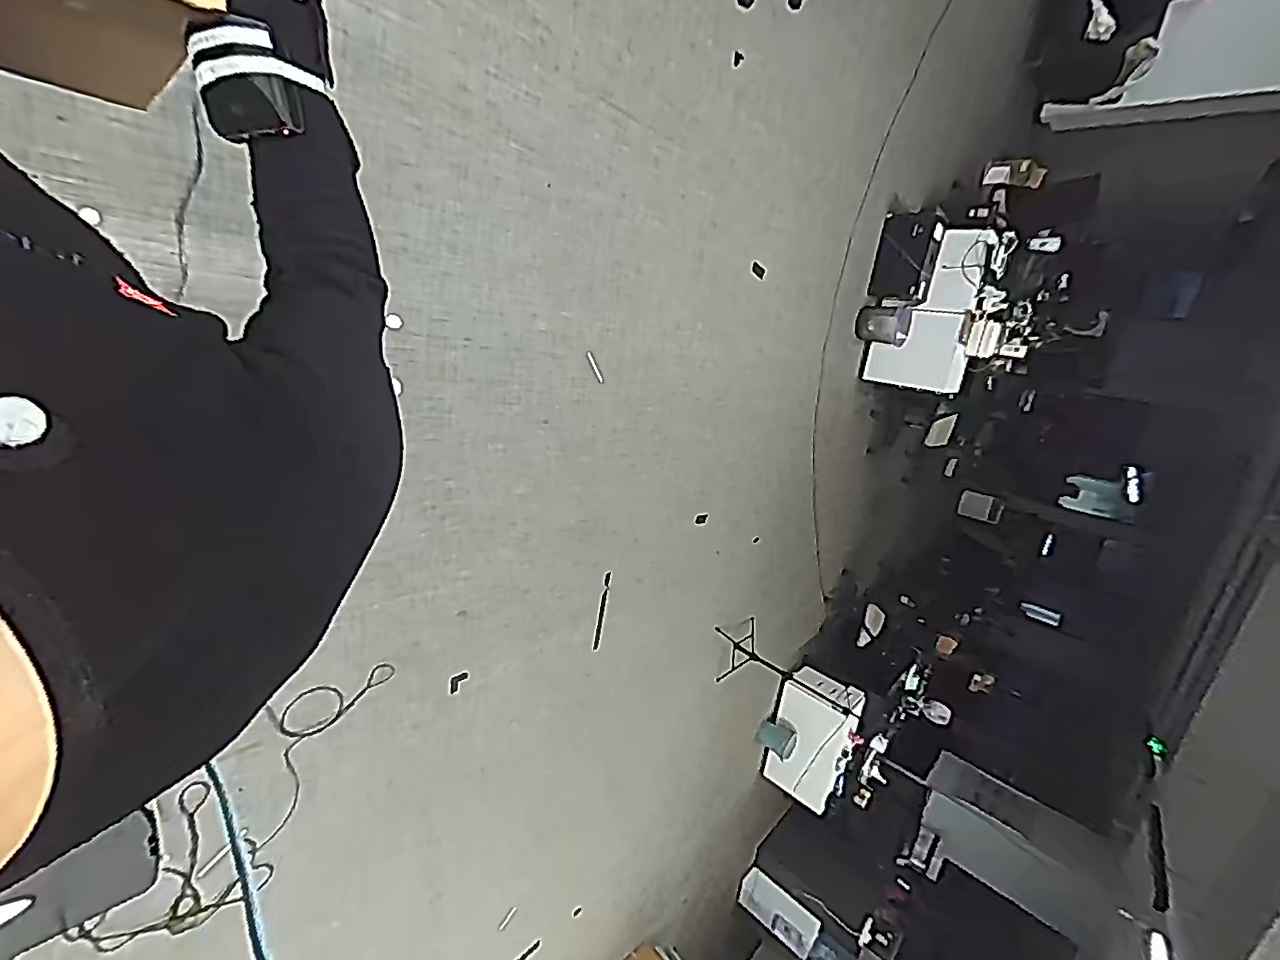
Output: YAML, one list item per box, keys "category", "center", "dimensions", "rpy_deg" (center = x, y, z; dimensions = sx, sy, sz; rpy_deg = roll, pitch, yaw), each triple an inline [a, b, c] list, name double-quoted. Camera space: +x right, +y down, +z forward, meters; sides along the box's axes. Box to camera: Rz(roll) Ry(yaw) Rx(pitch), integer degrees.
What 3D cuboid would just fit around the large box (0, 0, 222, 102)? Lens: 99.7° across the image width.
- category: "large box"
  center: [-0.508, -0.465, 0.271]
  dimensions: [0.408, 0.320, 0.320]
  rpy_deg: [-11, 111, -48]
